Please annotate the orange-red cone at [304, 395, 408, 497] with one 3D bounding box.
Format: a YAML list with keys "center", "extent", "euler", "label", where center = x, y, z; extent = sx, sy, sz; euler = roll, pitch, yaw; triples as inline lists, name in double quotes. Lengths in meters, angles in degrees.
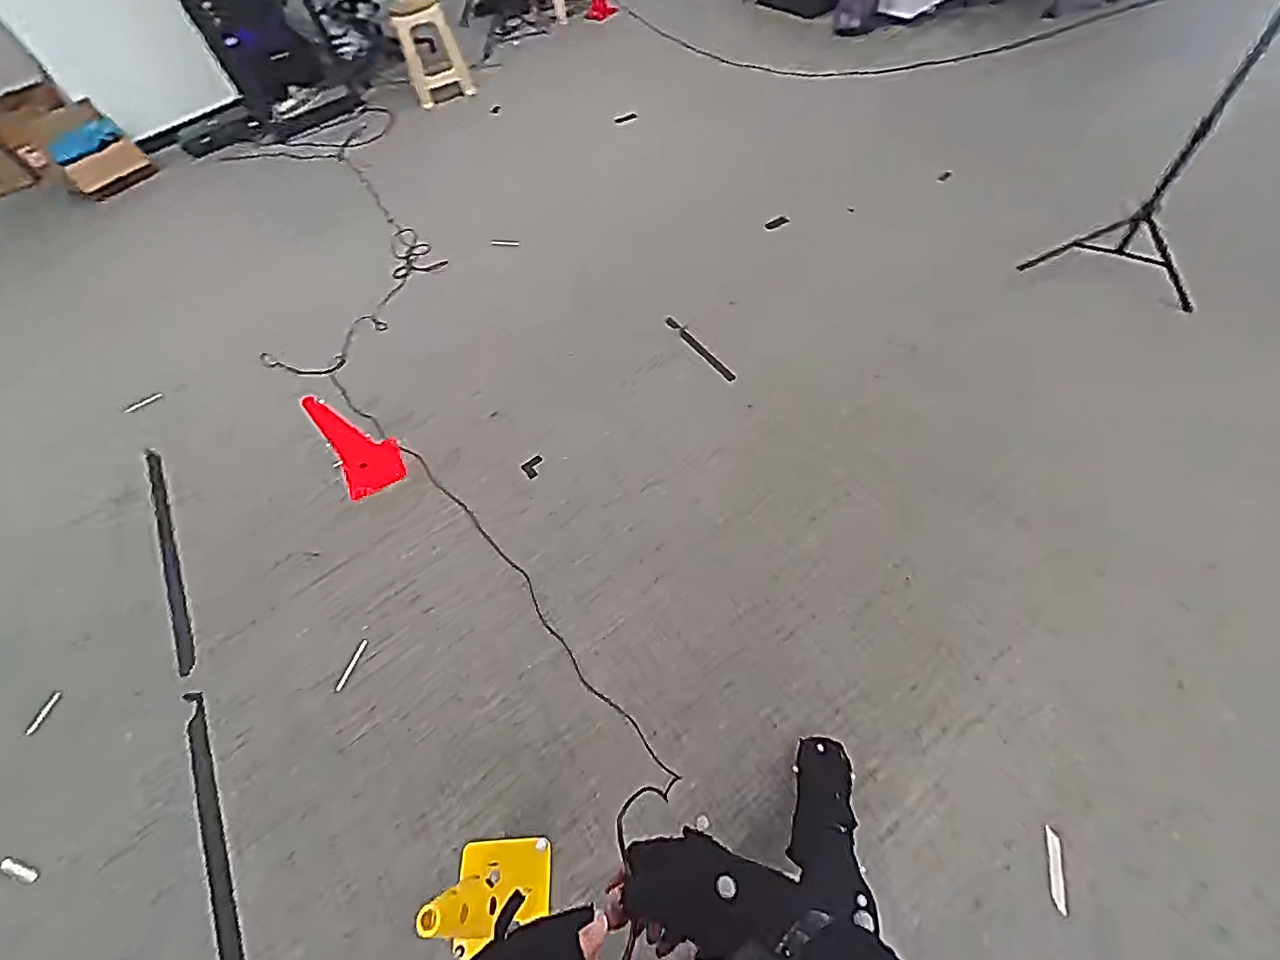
- center: [-0.917, -0.137, 1.690]
  extent: [0.198, 0.360, 0.199]
  euler: [-27, 59, -8]
  label: "orange-red cone"
